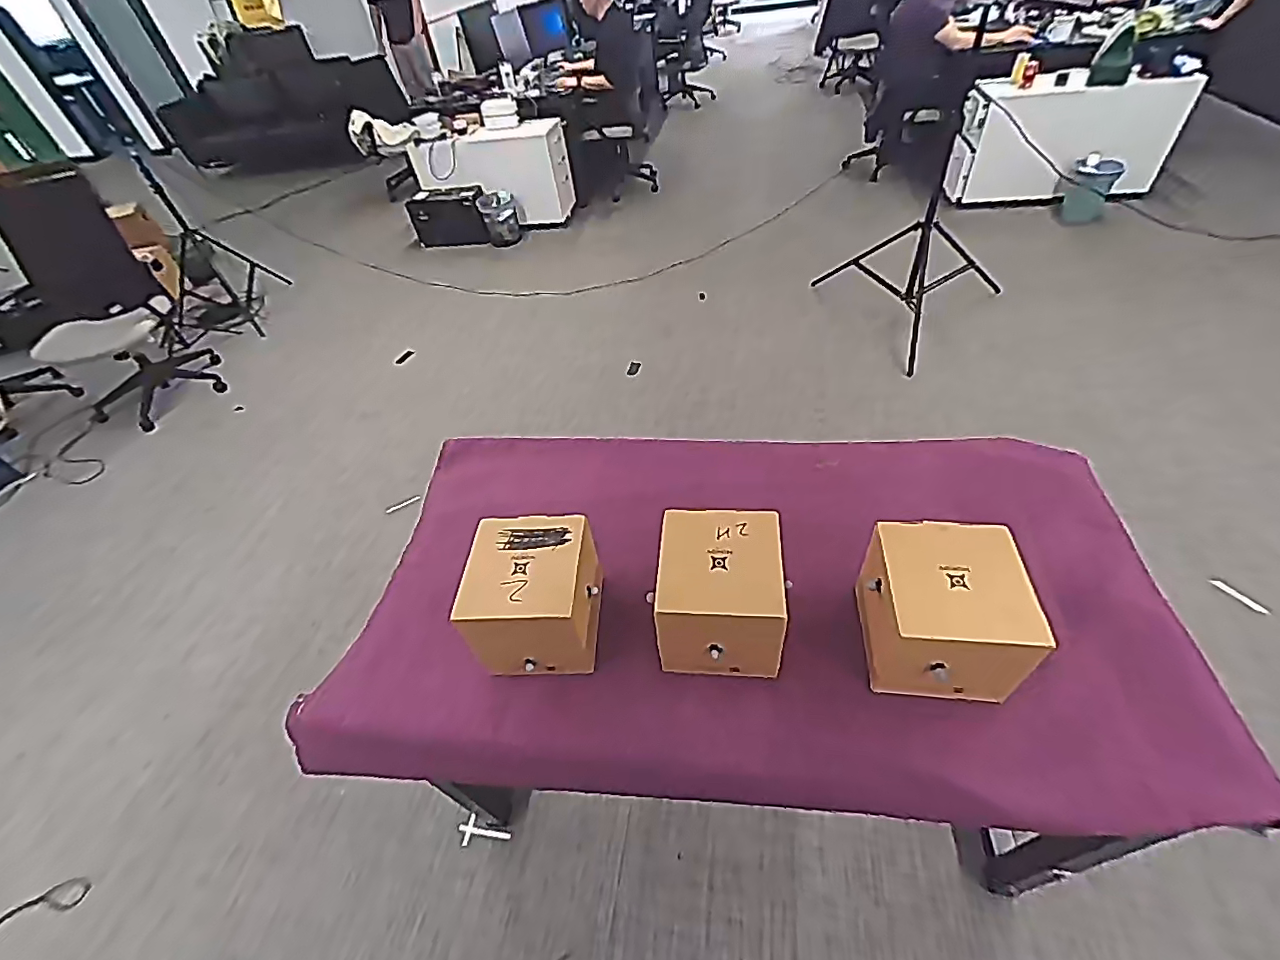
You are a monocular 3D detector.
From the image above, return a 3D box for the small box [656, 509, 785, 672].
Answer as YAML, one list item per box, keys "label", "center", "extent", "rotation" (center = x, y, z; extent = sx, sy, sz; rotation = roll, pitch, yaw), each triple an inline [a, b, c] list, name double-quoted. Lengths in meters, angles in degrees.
- label: "small box"
  center: [0.118, 0.162, 0.789]
  extent: [0.168, 0.176, 0.179]
  rotation: [1, 45, 8]

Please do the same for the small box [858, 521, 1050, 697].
- label: "small box"
  center: [0.404, 0.176, 0.734]
  extent: [0.168, 0.176, 0.179]
  rotation: [1, 46, 10]
